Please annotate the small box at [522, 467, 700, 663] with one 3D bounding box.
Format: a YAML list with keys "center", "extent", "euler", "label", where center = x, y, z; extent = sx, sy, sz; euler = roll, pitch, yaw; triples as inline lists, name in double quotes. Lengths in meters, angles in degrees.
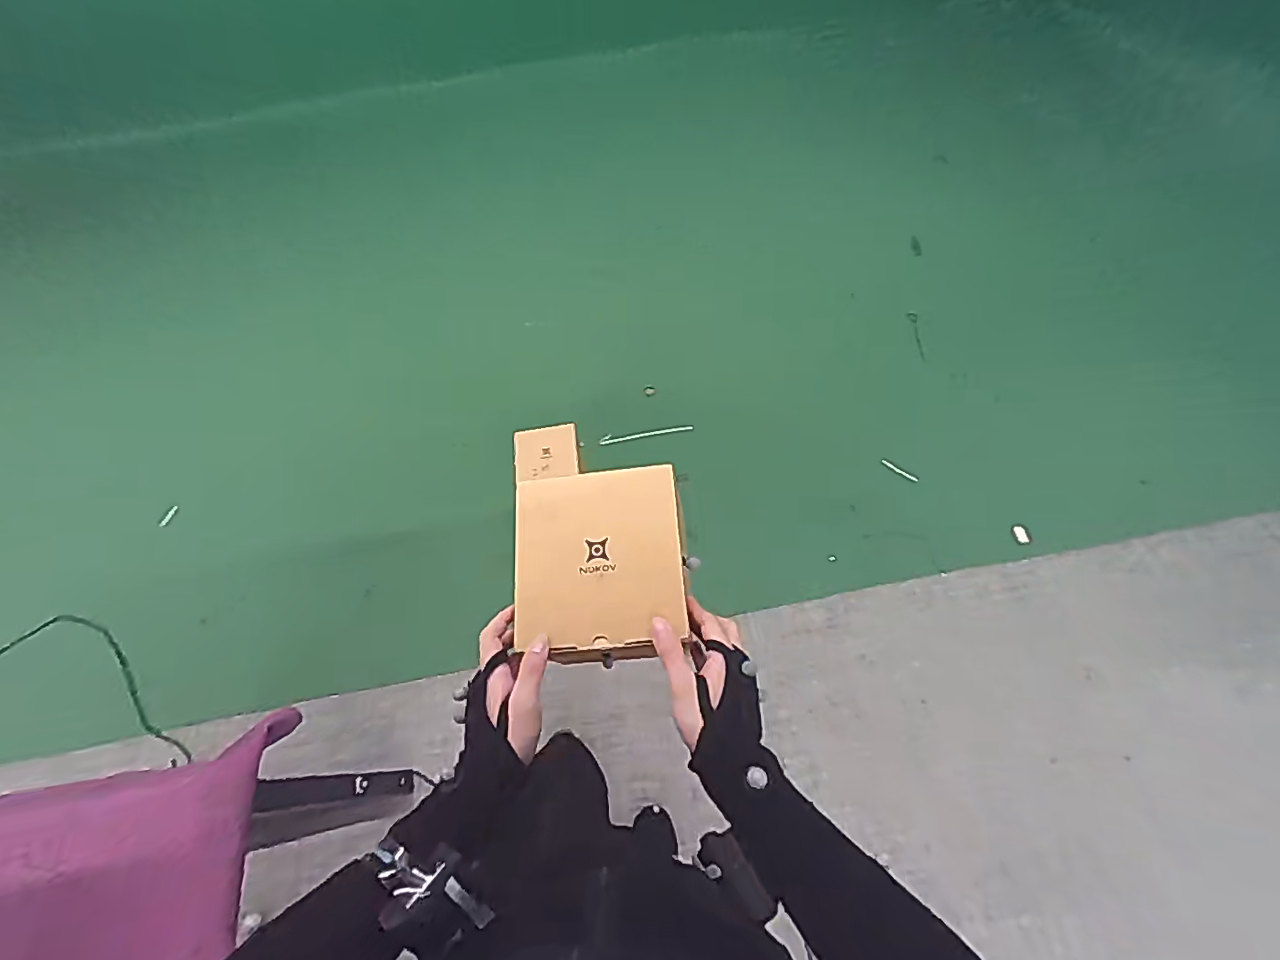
- center: [-0.023, 0.102, 0.596]
  extent: [0.168, 0.176, 0.179]
  euler: [-6, 69, 5]
  label: "small box"

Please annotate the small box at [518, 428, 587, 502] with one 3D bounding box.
- center: [-0.239, -0.018, 1.503]
  extent: [0.168, 0.176, 0.179]
  euler: [-9, 62, 0]
  label: "small box"
